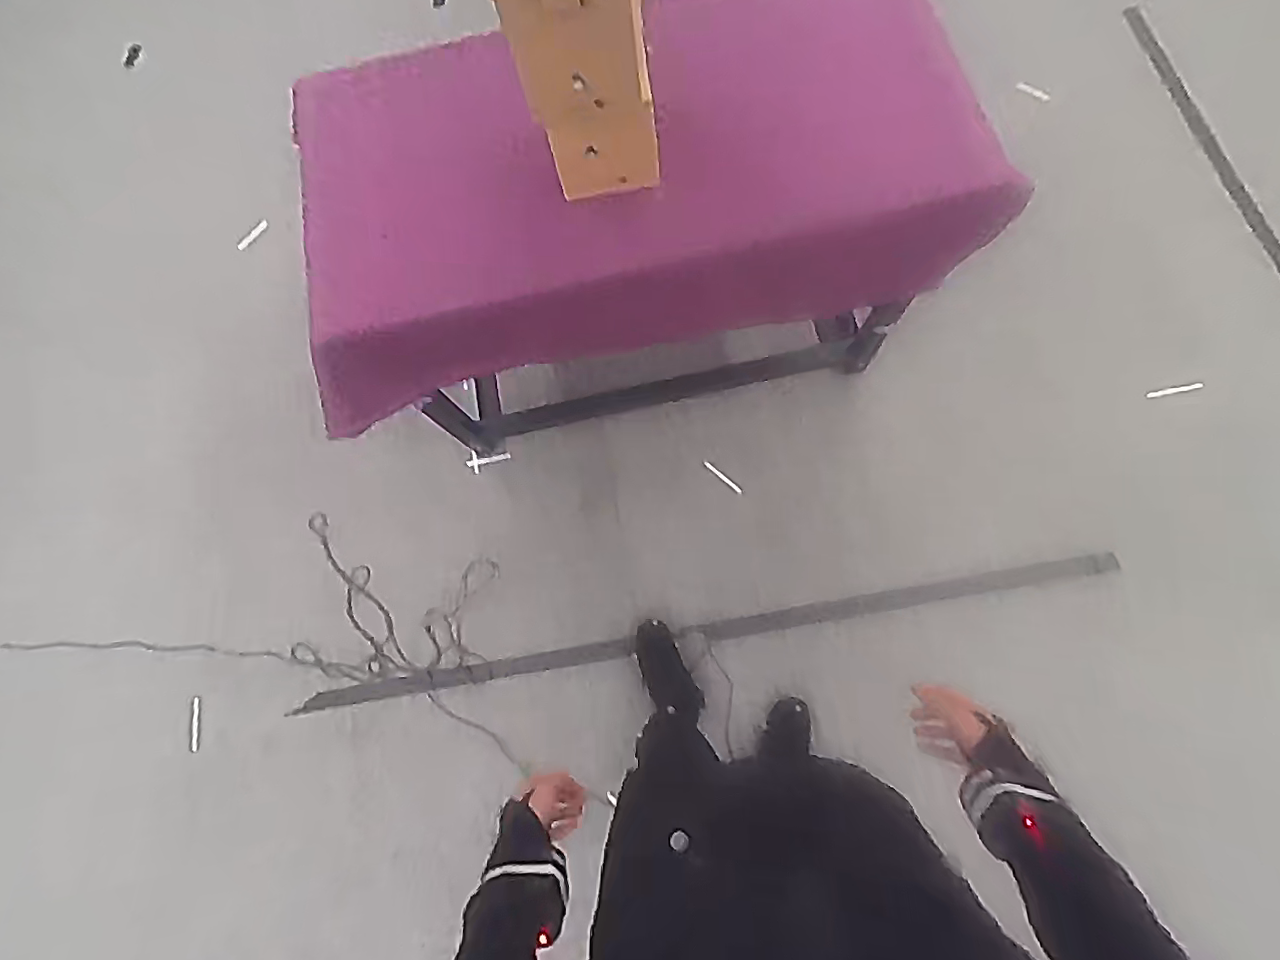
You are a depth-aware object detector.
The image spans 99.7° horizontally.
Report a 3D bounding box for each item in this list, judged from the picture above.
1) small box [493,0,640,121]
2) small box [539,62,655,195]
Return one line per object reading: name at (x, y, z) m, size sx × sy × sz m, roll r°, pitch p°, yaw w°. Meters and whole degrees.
small box at (-0.090, -0.632, 0.732) m, size 0.168 × 0.176 × 0.179 m, roll -2°, pitch 75°, yaw 6°
small box at (-0.071, -0.602, 0.893) m, size 0.168 × 0.176 × 0.179 m, roll -9°, pitch 74°, yaw 4°
